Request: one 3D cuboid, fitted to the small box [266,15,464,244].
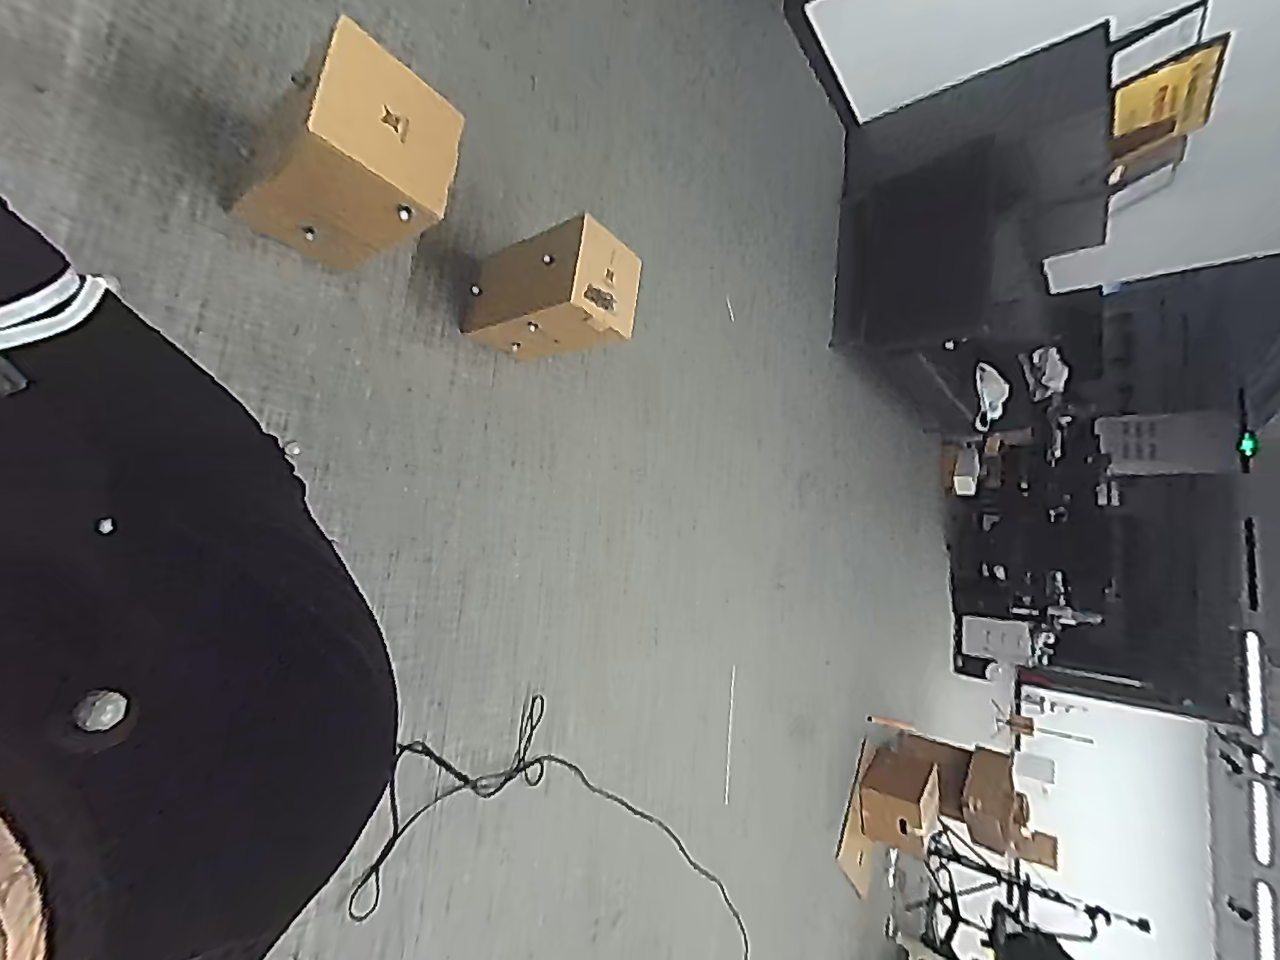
[{"bbox_3d":[-0.375,-0.455,0.739,0.179,0.176,0.168,20,74,-49],"label":"small box"}]

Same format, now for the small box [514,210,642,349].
[{"bbox_3d":[-0.121,-0.372,1.044,0.168,0.176,0.179,20,73,-49],"label":"small box"}]

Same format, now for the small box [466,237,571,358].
[{"bbox_3d":[-0.247,-0.375,1.151,0.168,0.176,0.179,18,76,-49],"label":"small box"}]
